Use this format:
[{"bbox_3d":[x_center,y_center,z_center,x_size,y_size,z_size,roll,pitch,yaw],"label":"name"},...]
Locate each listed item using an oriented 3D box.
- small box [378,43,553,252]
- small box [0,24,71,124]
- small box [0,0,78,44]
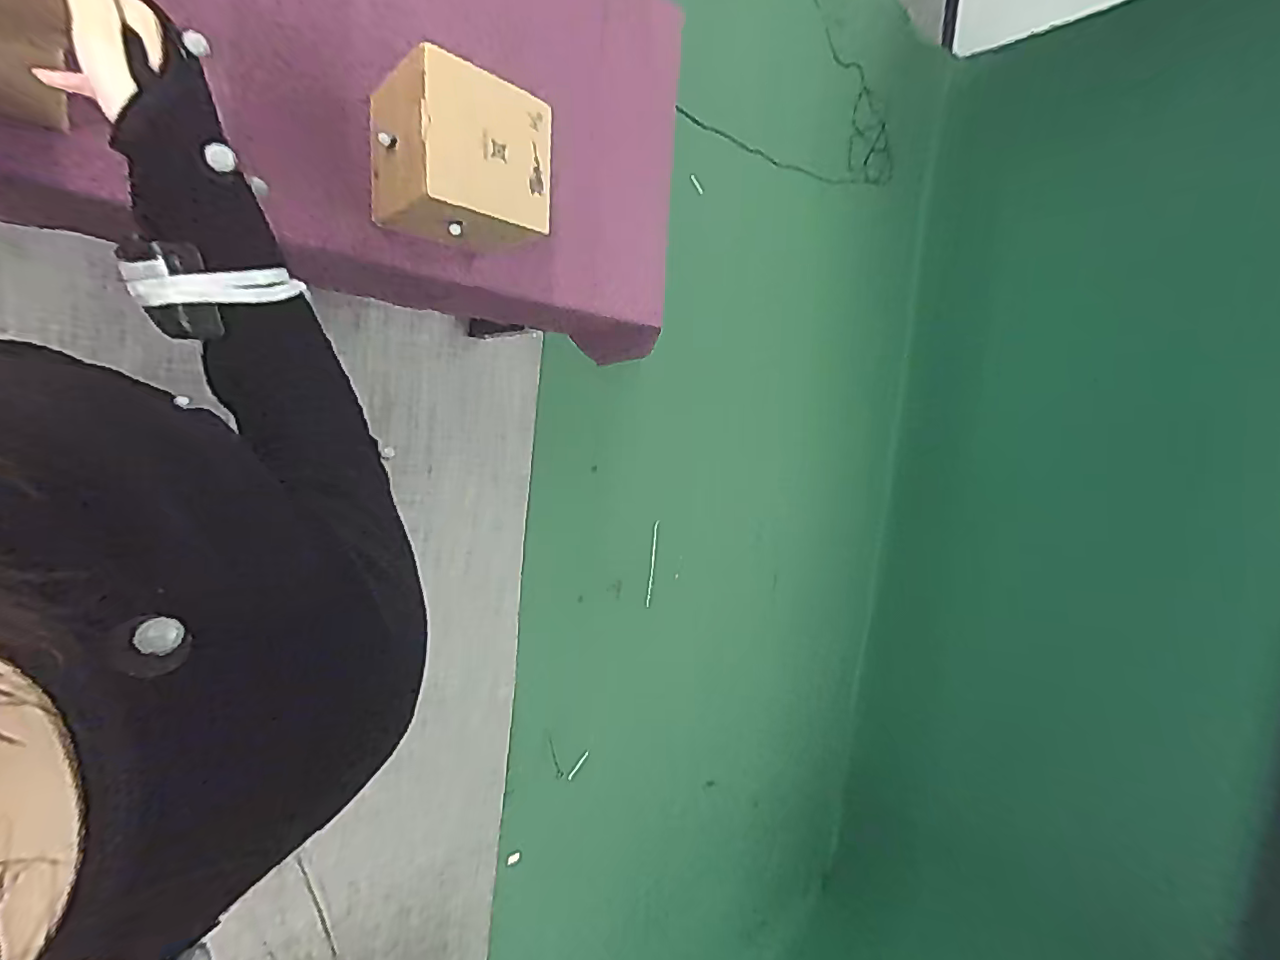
[{"bbox_3d":[-0.236,-0.419,0.722,0.179,0.176,0.168,-4,100,-44],"label":"small box"},{"bbox_3d":[-0.553,-0.411,0.406,0.168,0.176,0.179,-3,99,-45],"label":"small box"},{"bbox_3d":[-0.409,-0.358,0.266,0.179,0.176,0.168,-13,115,-52],"label":"small box"}]
